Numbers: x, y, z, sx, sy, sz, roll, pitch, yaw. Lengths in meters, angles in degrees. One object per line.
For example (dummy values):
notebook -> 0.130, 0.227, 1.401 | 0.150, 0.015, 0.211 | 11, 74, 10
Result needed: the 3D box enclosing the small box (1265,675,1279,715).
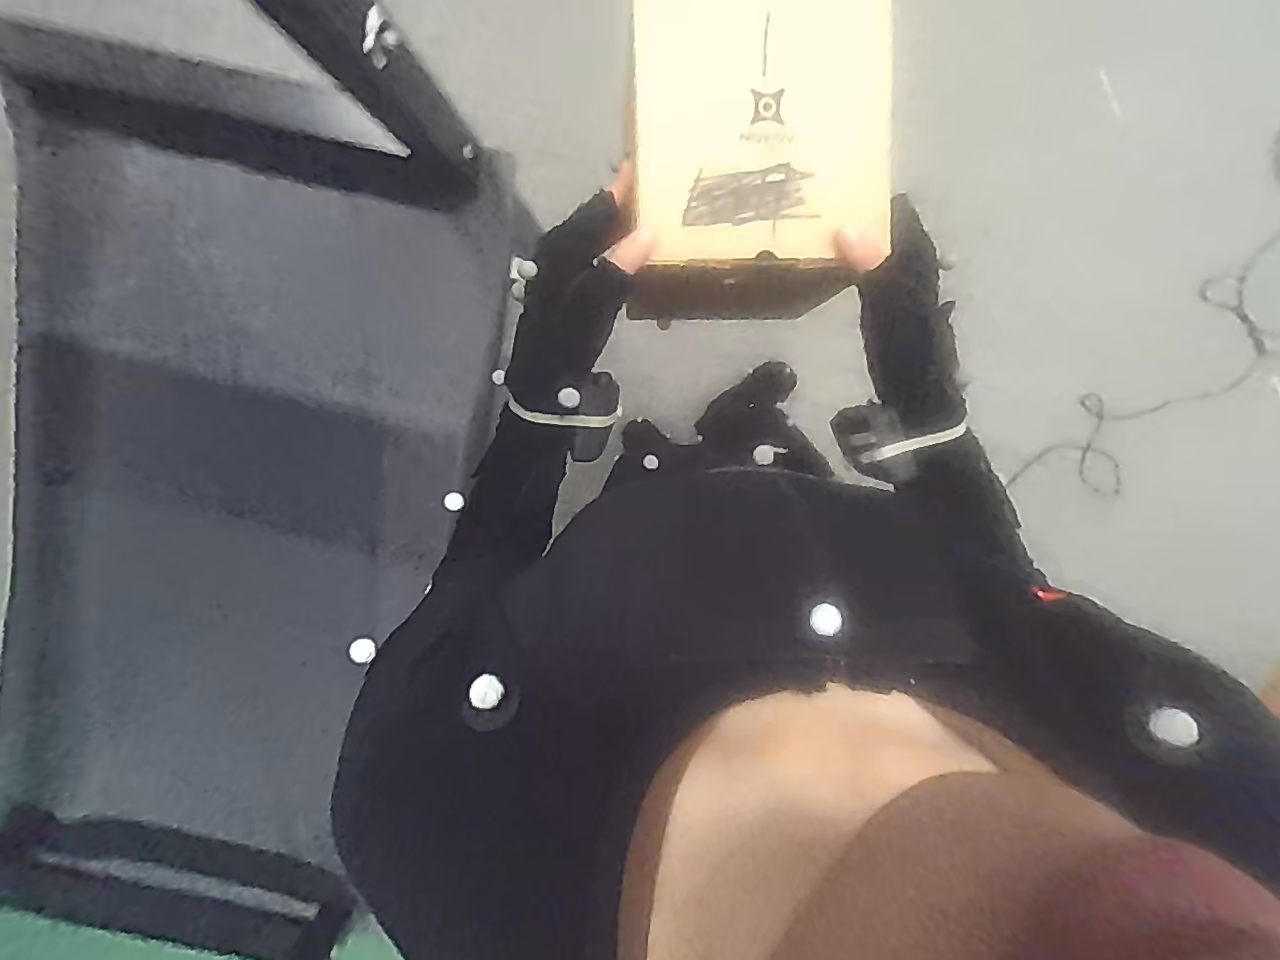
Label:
small box -> 1.878, 0.606, 1.449 | 0.179, 0.176, 0.168 | 15, 99, -1
